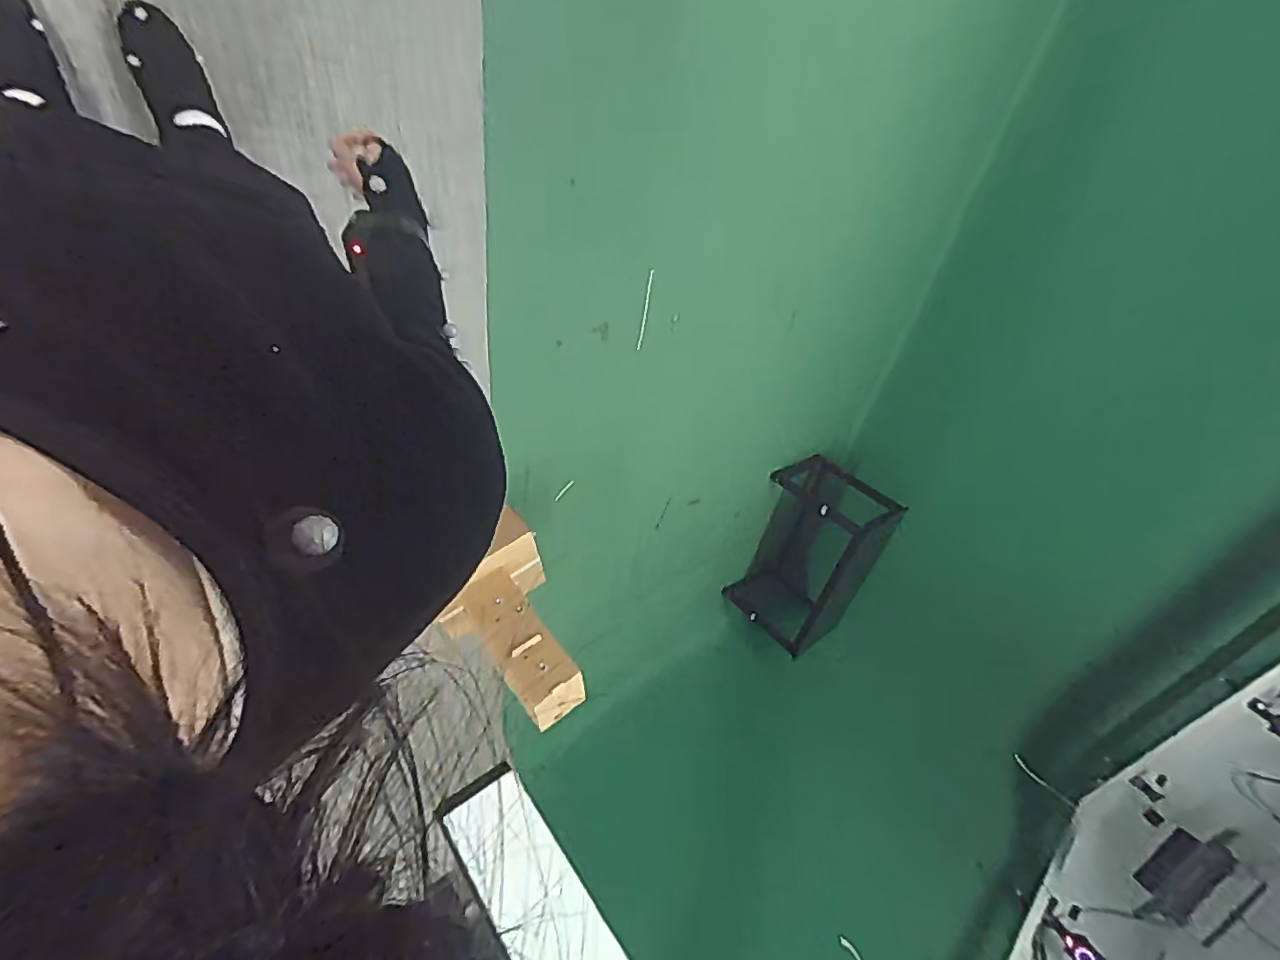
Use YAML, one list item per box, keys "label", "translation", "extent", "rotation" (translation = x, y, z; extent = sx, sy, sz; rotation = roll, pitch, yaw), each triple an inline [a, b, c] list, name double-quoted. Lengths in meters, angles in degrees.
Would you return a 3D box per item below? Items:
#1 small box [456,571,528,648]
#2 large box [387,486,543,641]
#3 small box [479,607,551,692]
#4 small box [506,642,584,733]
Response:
- label: "small box"
  translation: [-0.494, 0.441, 1.832]
  extent: [0.179, 0.176, 0.168]
  rotation: [-29, 140, -27]
- label: "large box"
  translation: [-0.629, 0.296, 1.979]
  extent: [0.408, 0.320, 0.320]
  rotation: [-33, 144, -26]
- label: "small box"
  translation: [-0.398, 0.536, 1.740]
  extent: [0.168, 0.176, 0.179]
  rotation: [-28, 140, -29]
- label: "small box"
  translation: [-0.290, 0.623, 1.652]
  extent: [0.168, 0.176, 0.179]
  rotation: [-29, 139, -28]
